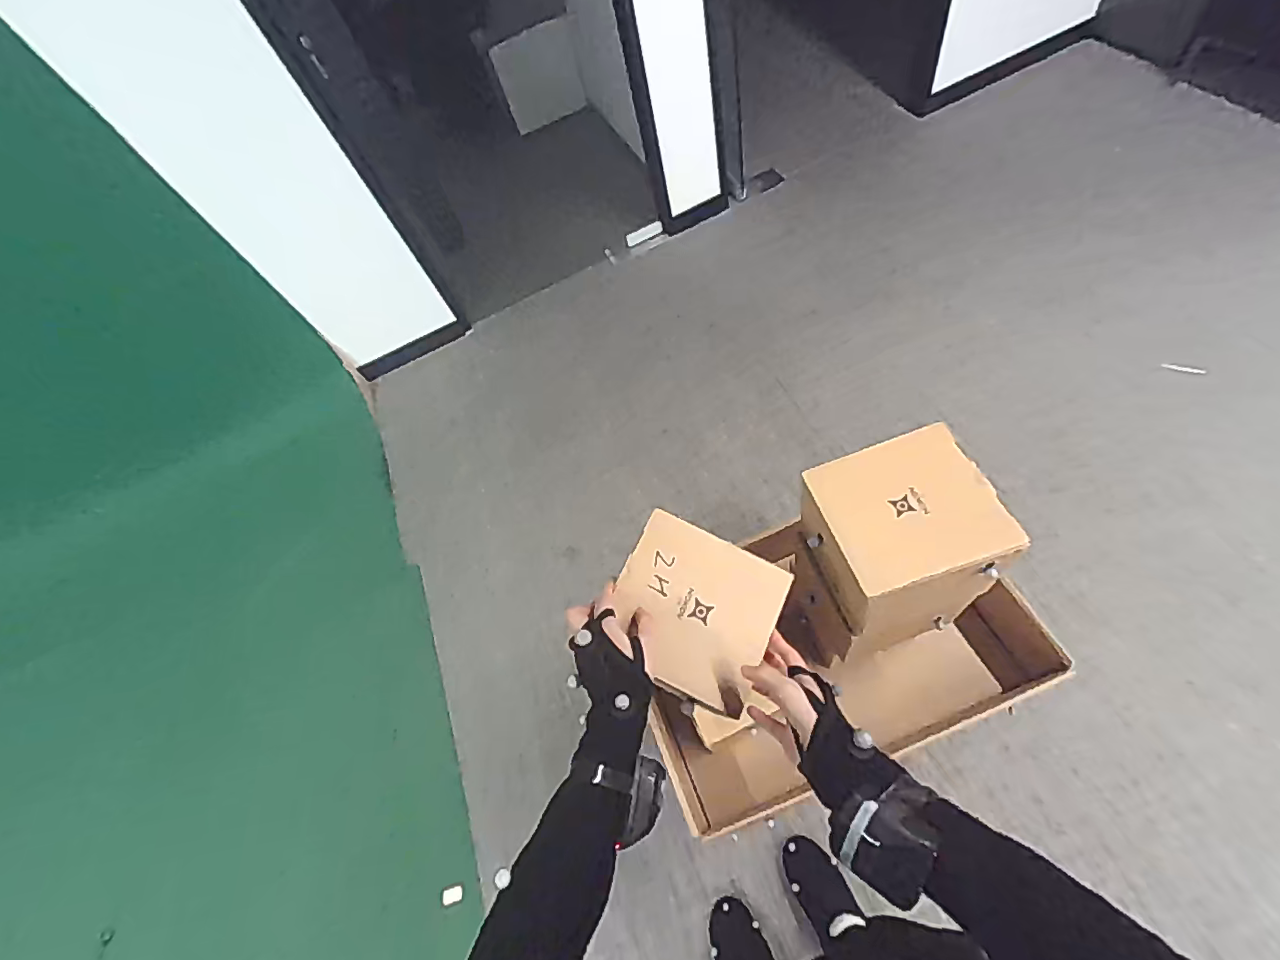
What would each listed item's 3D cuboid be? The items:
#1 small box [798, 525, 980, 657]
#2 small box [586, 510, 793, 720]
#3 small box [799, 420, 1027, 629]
[{"bbox_3d":[0.344,0.140,0.789,0.179,0.176,0.168,-22,58,4],"label":"small box"},{"bbox_3d":[0.052,0.161,0.647,0.179,0.176,0.168,25,71,6],"label":"small box"},{"bbox_3d":[0.308,0.063,0.652,0.179,0.176,0.168,-21,58,4],"label":"small box"}]
